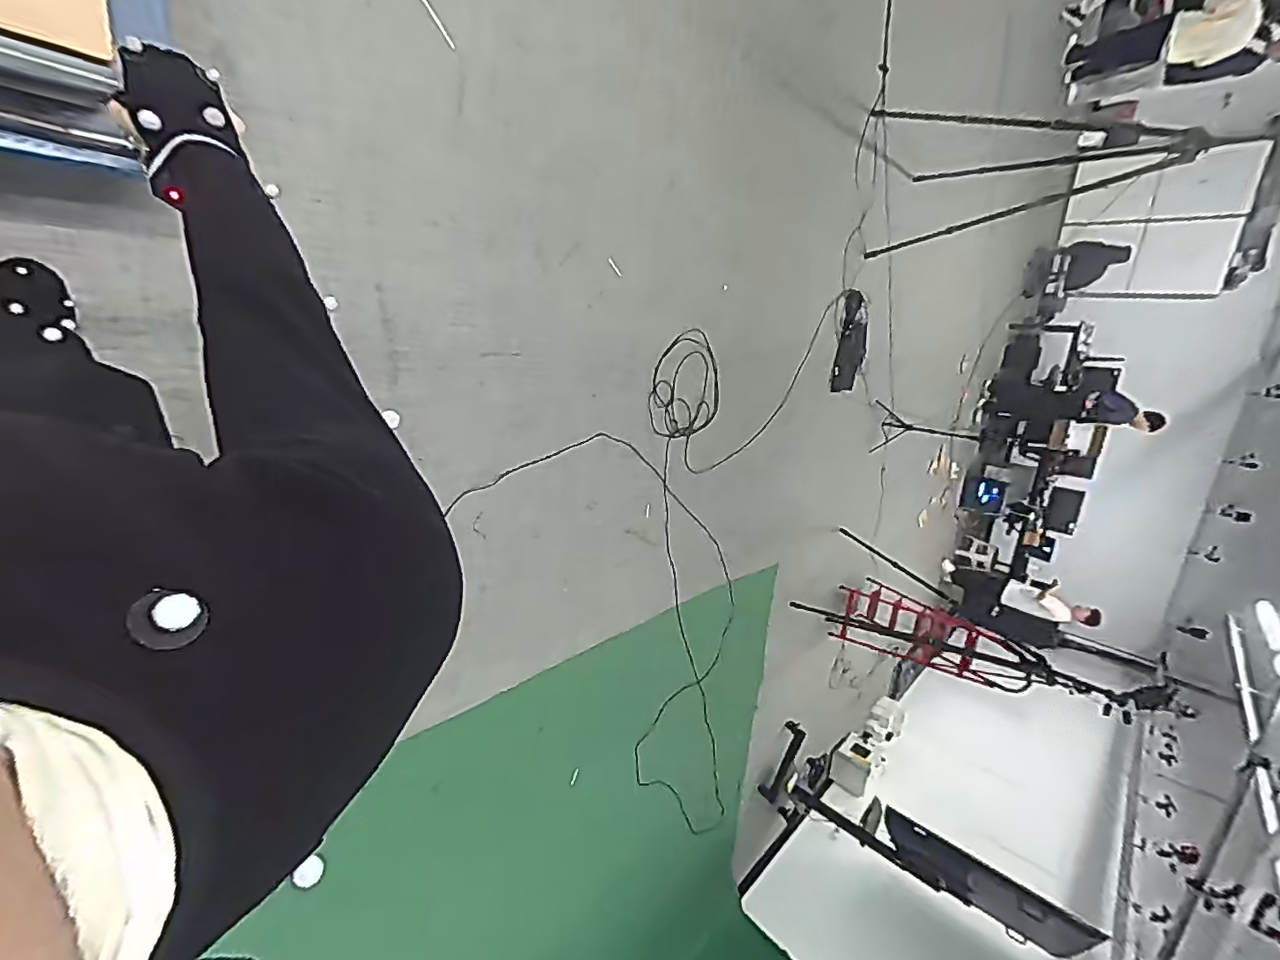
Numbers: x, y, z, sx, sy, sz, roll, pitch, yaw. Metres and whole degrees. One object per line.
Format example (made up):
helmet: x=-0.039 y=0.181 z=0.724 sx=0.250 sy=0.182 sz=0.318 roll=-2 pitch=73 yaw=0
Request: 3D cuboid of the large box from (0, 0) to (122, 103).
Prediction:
large box: x=-0.915 y=-0.785 z=0.687 sx=0.320 sy=0.320 sz=0.408 roll=-11 pitch=111 yaw=-45
